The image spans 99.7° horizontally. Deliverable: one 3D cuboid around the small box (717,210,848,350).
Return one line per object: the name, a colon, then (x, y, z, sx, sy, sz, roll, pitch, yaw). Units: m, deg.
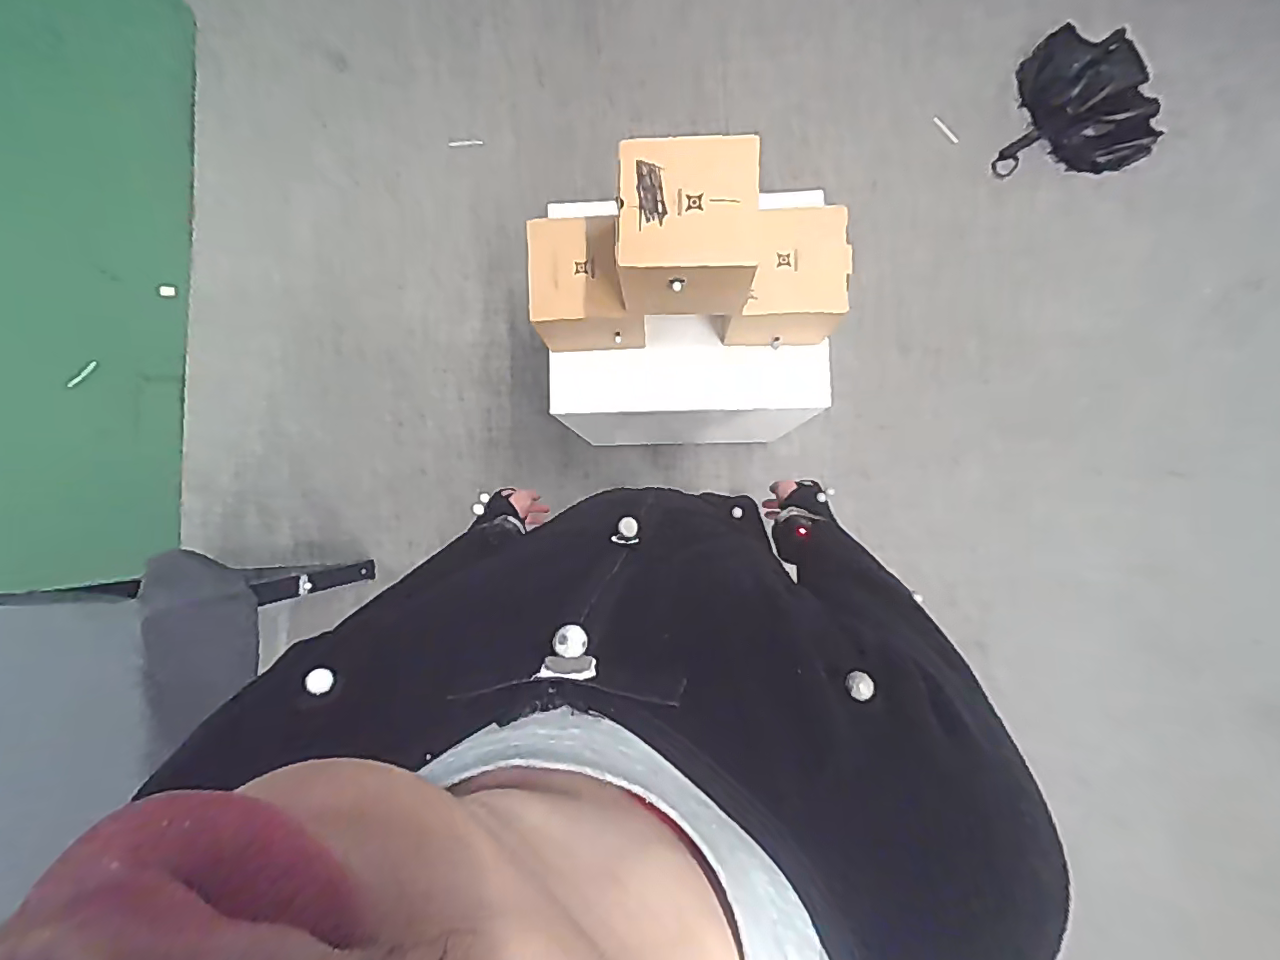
small box: (0.223, -0.318, 0.888, 0.179, 0.176, 0.168, -1, 87, 2)

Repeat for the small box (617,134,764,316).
small box: (0.063, -0.329, 0.727, 0.179, 0.176, 0.168, 0, 87, 1)

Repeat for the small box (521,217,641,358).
small box: (-0.089, -0.308, 0.892, 0.179, 0.176, 0.168, -4, 85, 1)
